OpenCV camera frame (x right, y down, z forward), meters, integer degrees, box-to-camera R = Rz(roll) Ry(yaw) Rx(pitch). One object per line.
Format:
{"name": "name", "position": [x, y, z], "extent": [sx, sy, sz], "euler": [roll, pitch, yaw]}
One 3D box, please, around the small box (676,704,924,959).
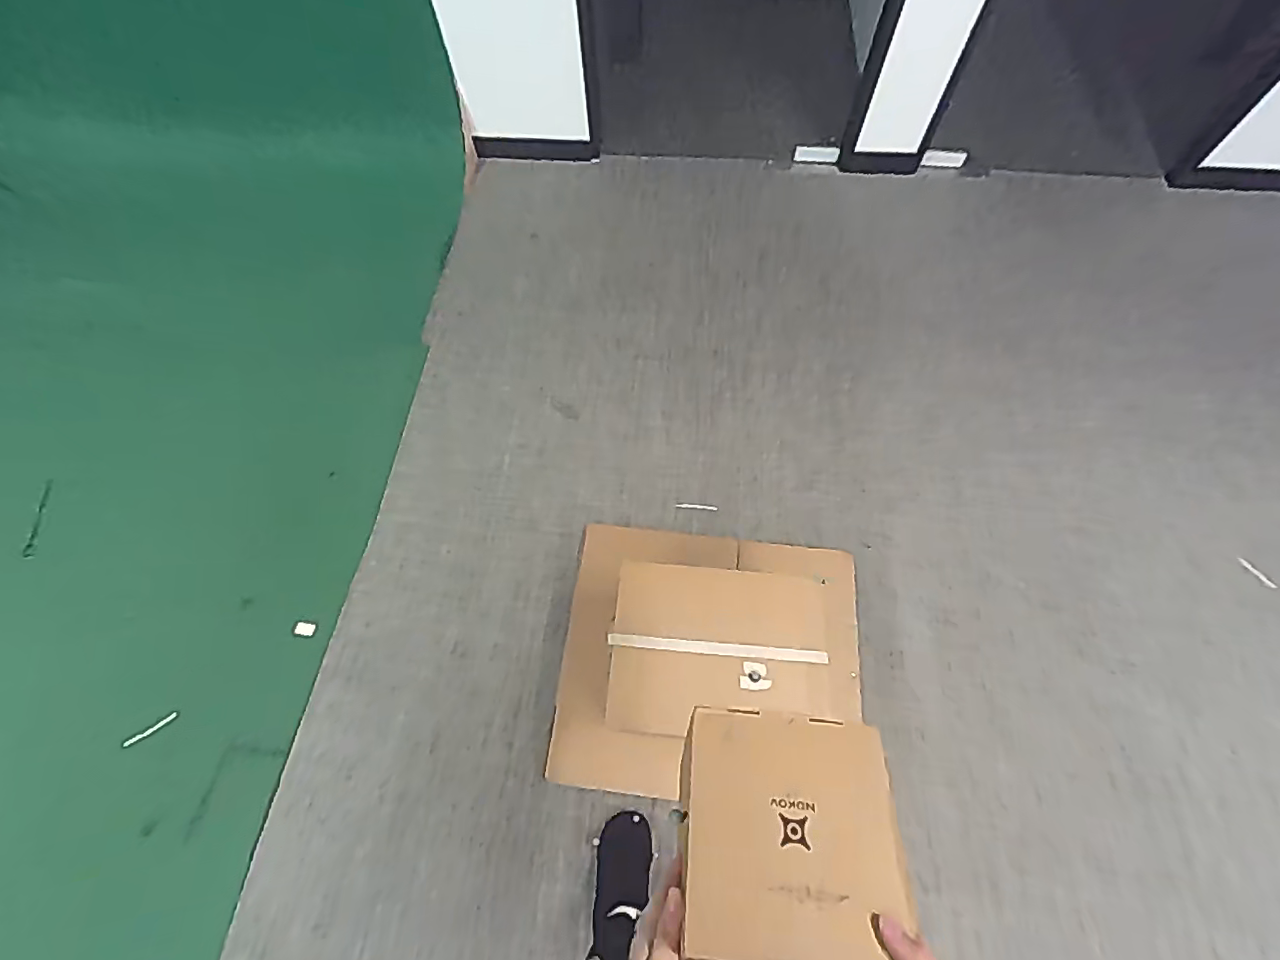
{"name": "small box", "position": [0.121, 0.329, 0.483], "extent": [0.168, 0.176, 0.179], "euler": [4, 45, 4]}

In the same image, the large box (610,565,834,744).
{"name": "large box", "position": [0.152, 0.386, 1.140], "extent": [0.408, 0.320, 0.320], "euler": [5, 65, 2]}
